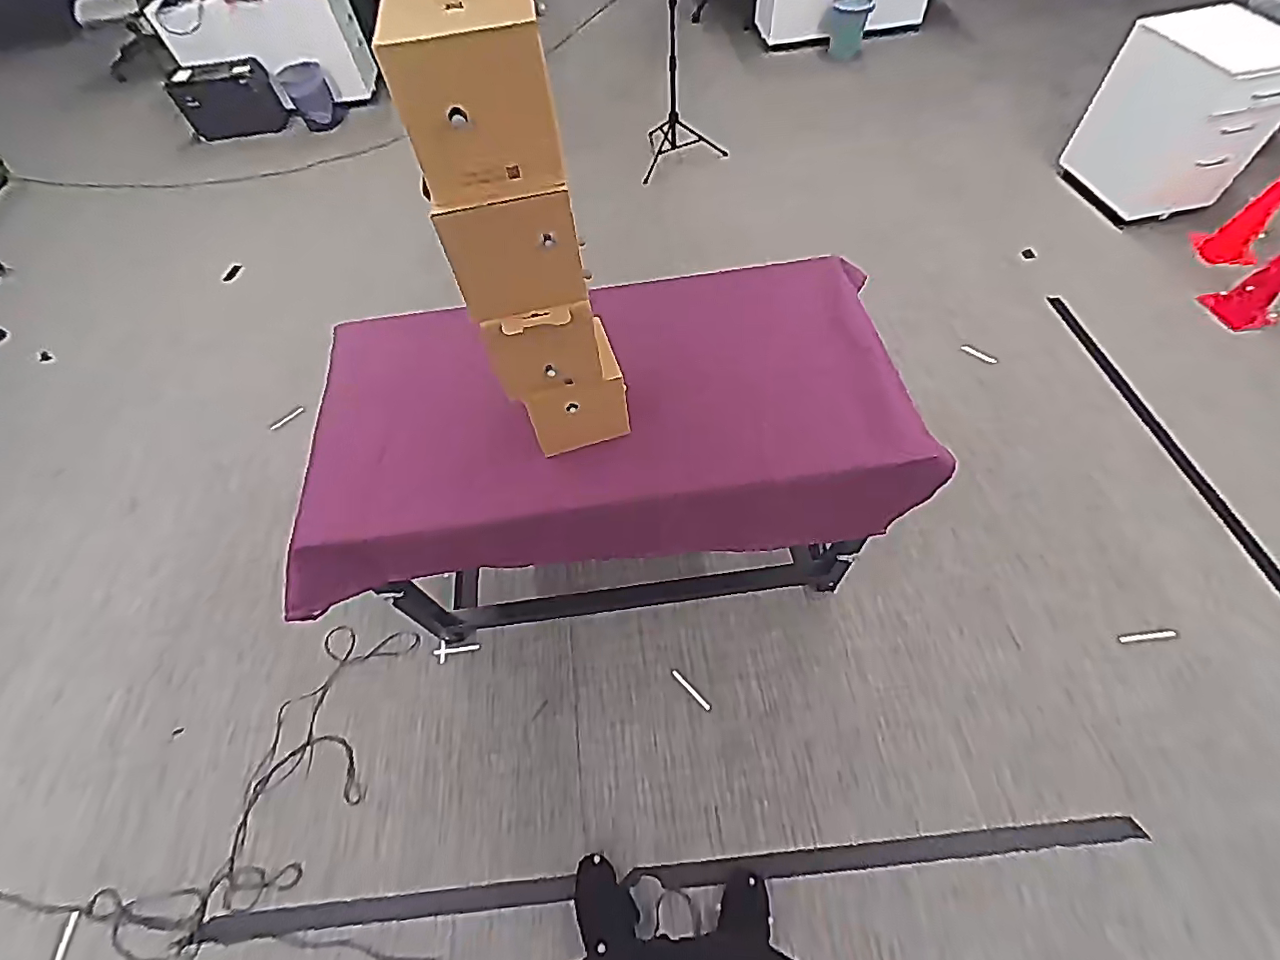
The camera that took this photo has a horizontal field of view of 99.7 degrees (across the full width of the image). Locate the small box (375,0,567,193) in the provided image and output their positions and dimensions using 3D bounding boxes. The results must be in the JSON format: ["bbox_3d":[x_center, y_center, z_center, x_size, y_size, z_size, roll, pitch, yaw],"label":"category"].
[{"bbox_3d":[-0.188,-0.463,0.641,0.168,0.176,0.179,-11,56,-2],"label":"small box"}]

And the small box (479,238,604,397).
[{"bbox_3d":[-0.161,-0.267,0.902,0.168,0.176,0.179,-12,58,-2],"label":"small box"}]

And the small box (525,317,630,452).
[{"bbox_3d":[-0.127,-0.177,1.038,0.179,0.176,0.168,-16,58,-6],"label":"small box"}]
